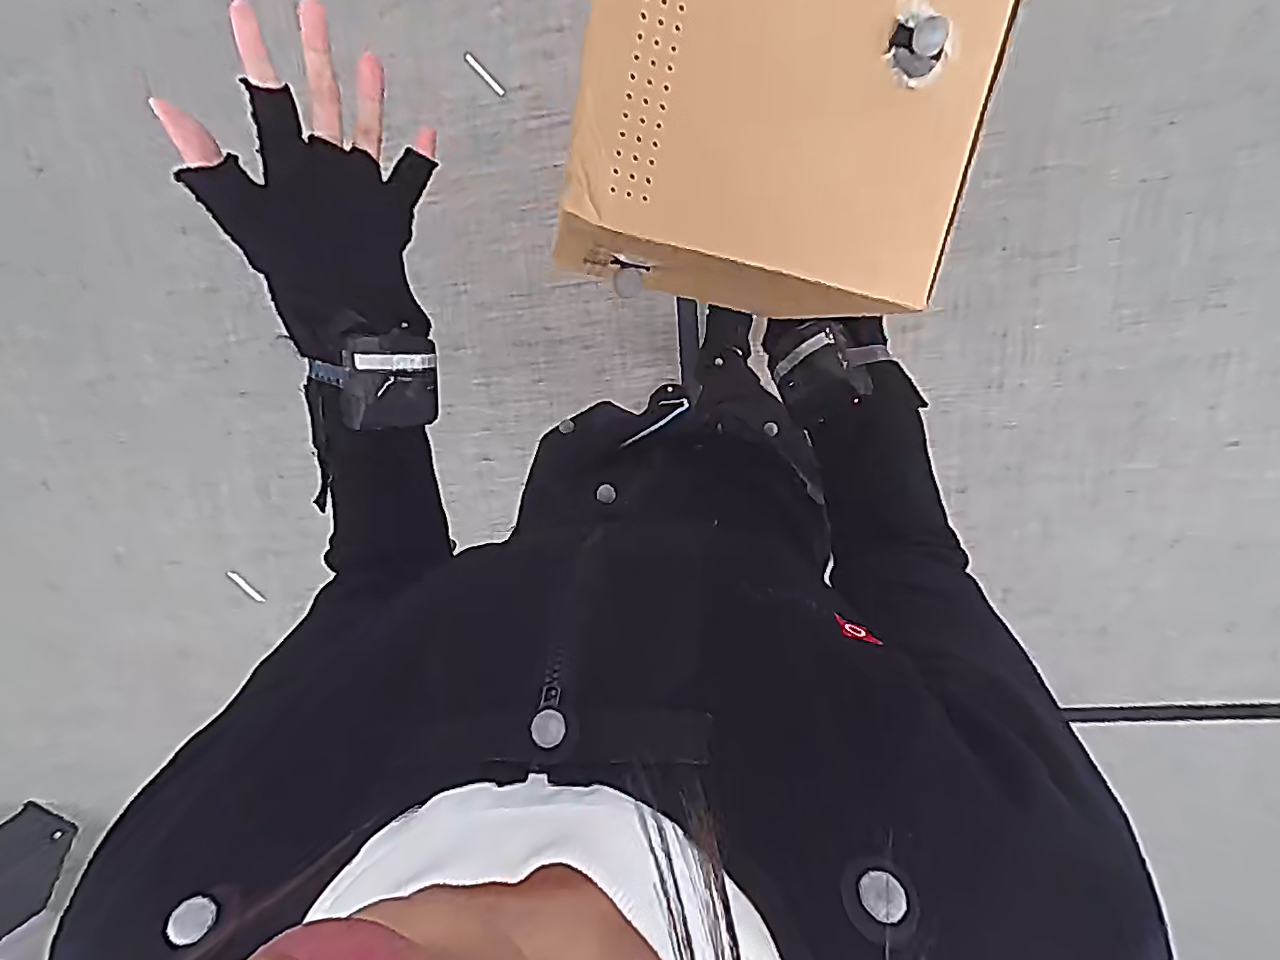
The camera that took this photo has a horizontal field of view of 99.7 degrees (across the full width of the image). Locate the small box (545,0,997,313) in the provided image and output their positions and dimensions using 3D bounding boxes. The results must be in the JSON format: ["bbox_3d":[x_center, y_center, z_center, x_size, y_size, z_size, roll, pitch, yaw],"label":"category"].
[{"bbox_3d":[0.046,-0.198,0.289,0.176,0.168,0.179,9,103,-11],"label":"small box"}]
